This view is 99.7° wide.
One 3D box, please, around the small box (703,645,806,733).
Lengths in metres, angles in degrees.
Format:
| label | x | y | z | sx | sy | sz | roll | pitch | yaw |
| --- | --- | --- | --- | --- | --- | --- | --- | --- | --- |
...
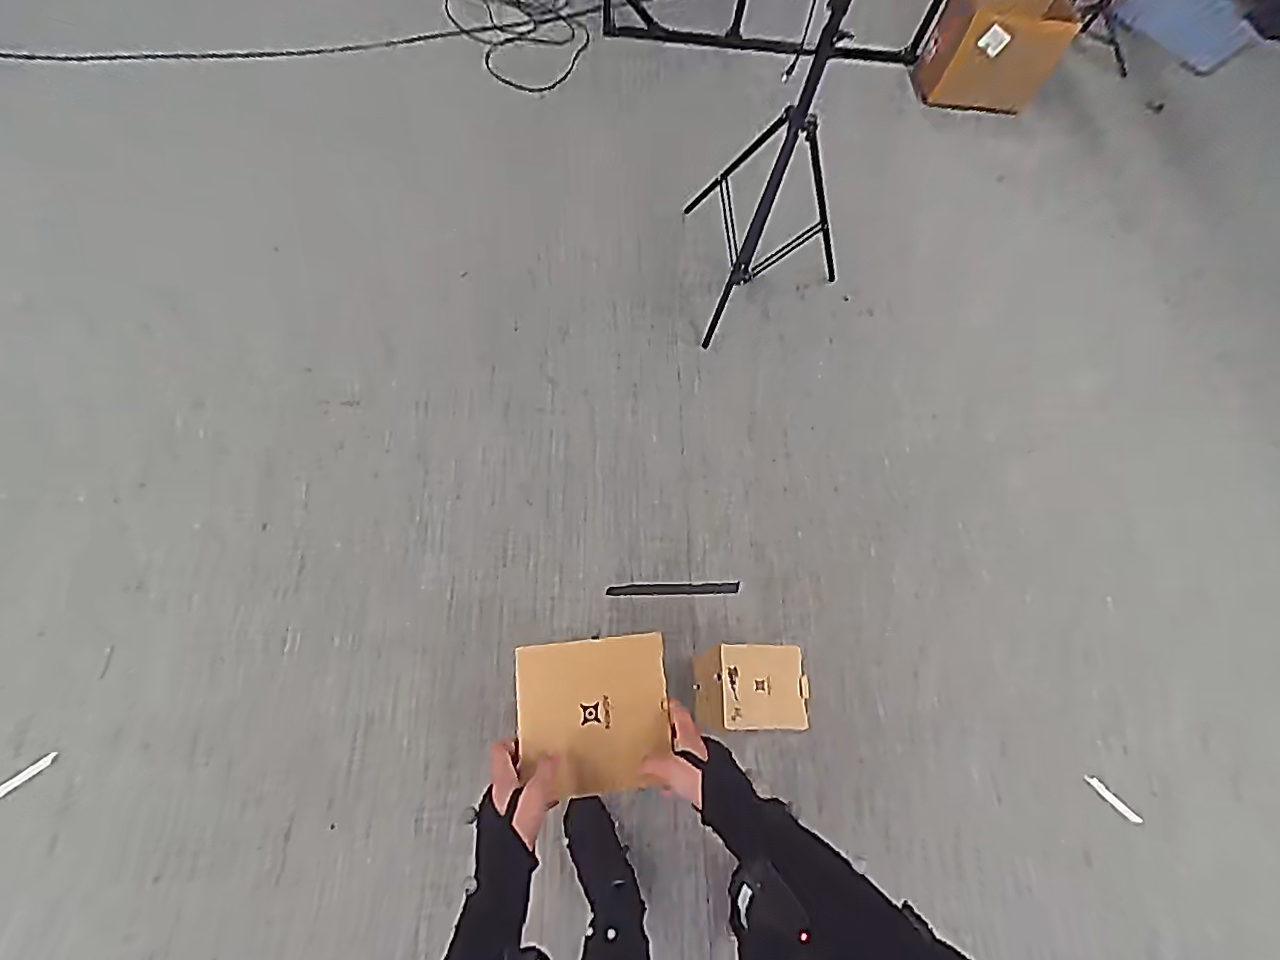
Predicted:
| label | x | y | z | sx | sy | sz | roll | pitch | yaw |
| --- | --- | --- | --- | --- | --- | --- | --- | --- | --- |
| small box | 0.243 | 0.457 | 1.186 | 0.179 | 0.176 | 0.168 | 3 | 67 | -5 |

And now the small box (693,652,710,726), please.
| label | x | y | z | sx | sy | sz | roll | pitch | yaw |
| --- | --- | --- | --- | --- | --- | --- | --- | --- | --- |
| small box | 0.227 | 0.520 | 1.337 | 0.179 | 0.176 | 0.168 | 2 | 68 | -6 |

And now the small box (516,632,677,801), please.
| label | x | y | z | sx | sy | sz | roll | pitch | yaw |
| --- | --- | --- | --- | --- | --- | --- | --- | --- | --- |
| small box | -0.058 | 0.292 | 0.692 | 0.179 | 0.176 | 0.168 | -4 | 71 | -7 |
